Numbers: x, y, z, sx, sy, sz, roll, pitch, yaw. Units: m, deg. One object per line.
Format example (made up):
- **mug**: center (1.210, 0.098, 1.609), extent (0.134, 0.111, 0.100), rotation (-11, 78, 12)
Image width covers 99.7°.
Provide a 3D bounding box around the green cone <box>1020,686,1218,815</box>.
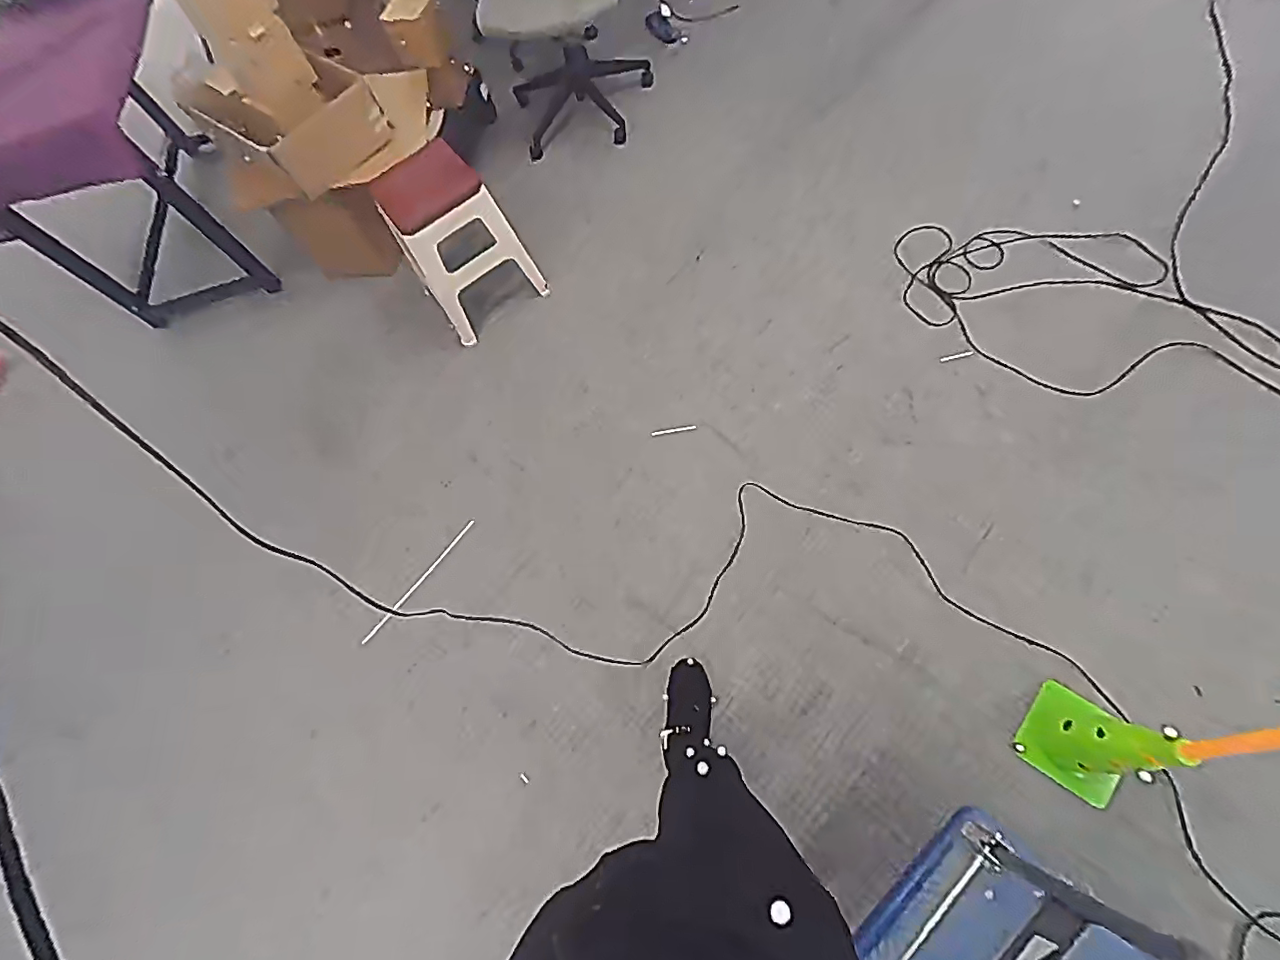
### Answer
- **green cone**: center (0.958, 0.531, 1.051), extent (0.200, 0.368, 0.202), rotation (33, 75, 21)
